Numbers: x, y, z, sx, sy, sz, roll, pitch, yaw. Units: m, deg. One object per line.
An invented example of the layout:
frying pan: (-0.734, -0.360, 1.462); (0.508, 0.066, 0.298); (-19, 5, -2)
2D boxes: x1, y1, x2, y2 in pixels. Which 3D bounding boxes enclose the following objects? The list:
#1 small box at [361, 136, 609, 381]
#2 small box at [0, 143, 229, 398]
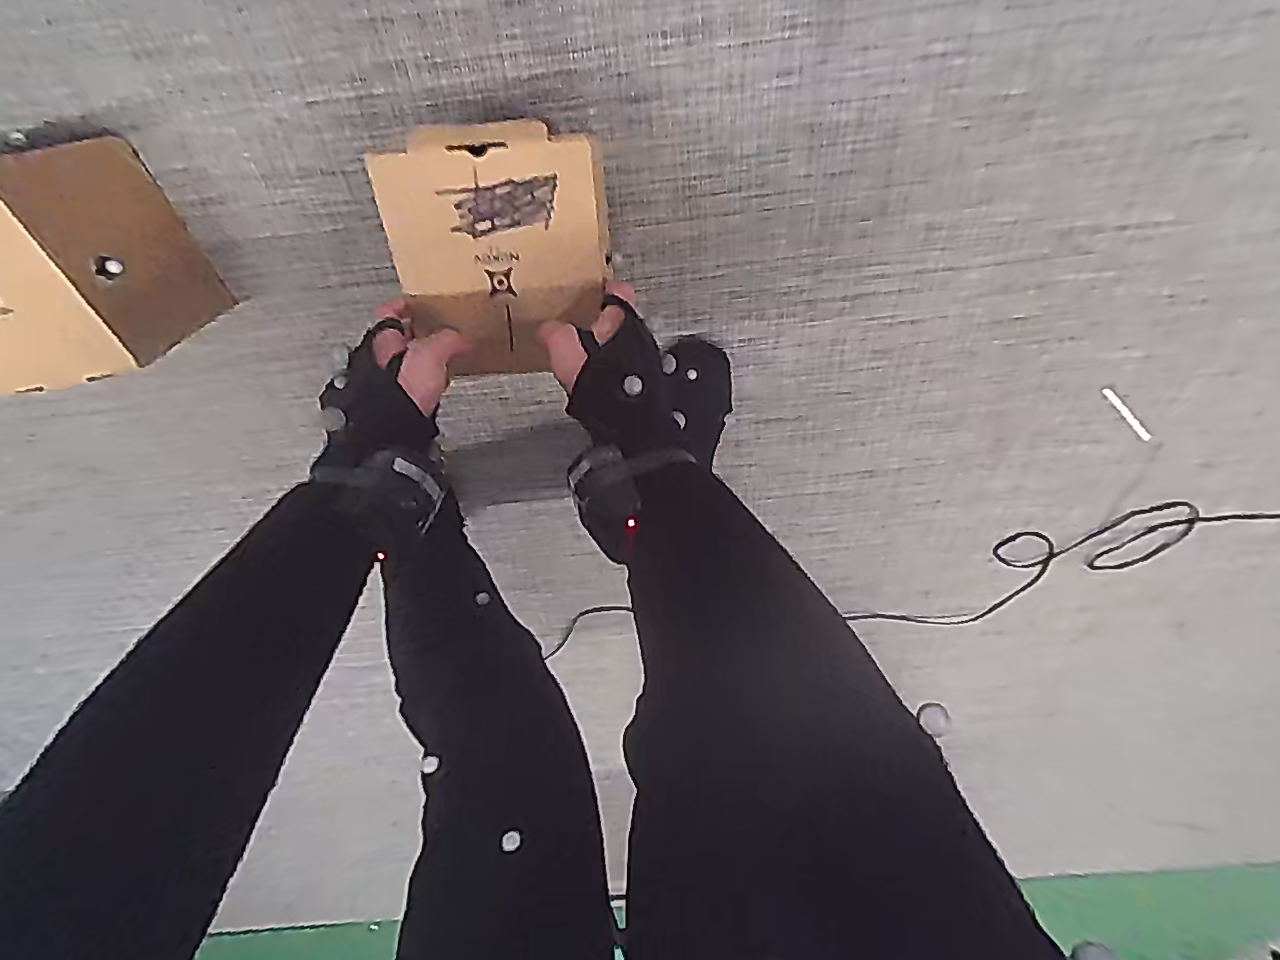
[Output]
small box: (-0.120, -0.206, 0.503); (0.168, 0.176, 0.179); (-4, 120, 2)
small box: (-0.569, -0.209, 0.535); (0.168, 0.176, 0.179); (-10, 127, 6)
